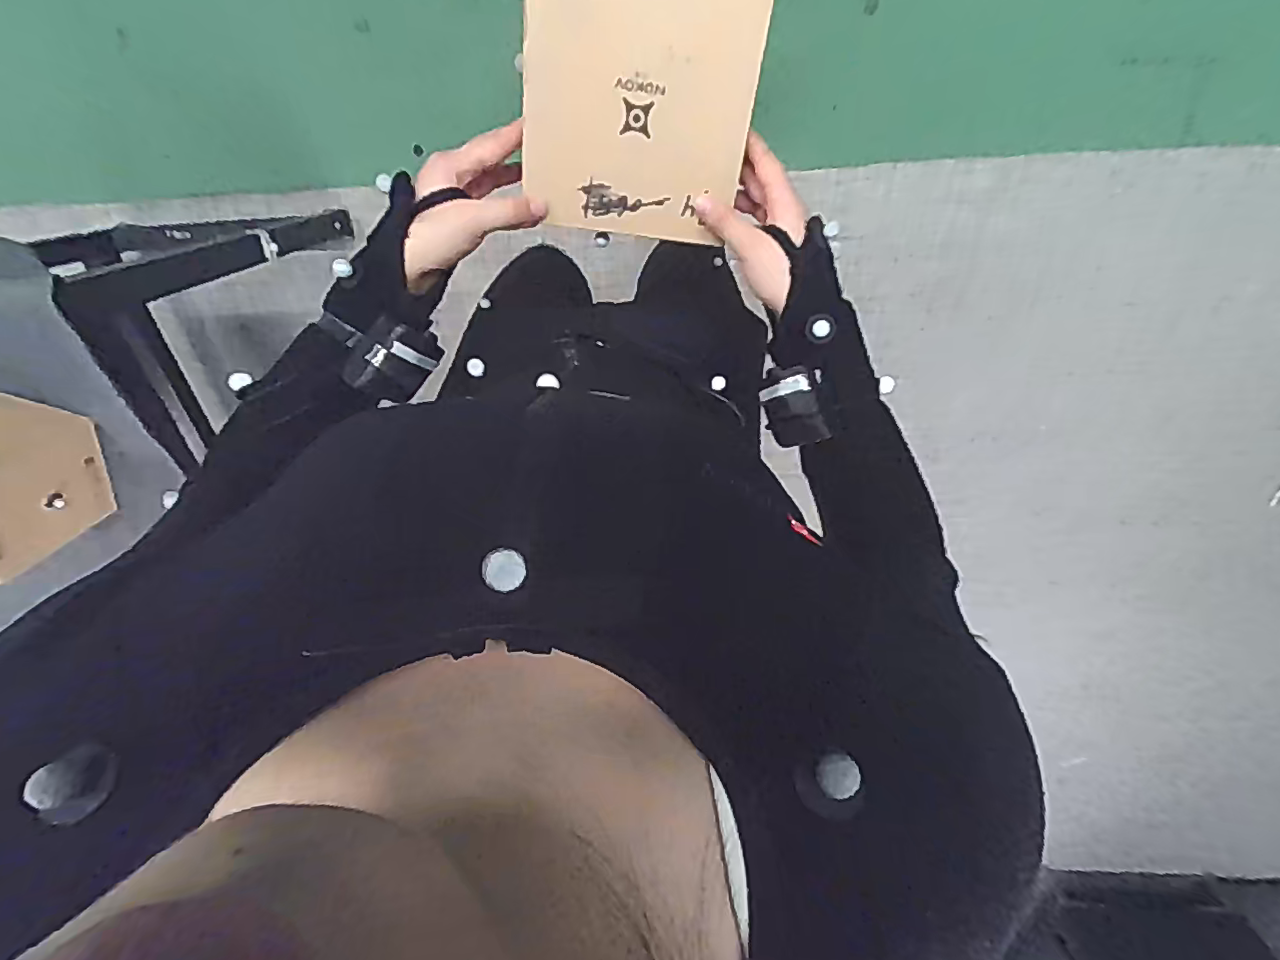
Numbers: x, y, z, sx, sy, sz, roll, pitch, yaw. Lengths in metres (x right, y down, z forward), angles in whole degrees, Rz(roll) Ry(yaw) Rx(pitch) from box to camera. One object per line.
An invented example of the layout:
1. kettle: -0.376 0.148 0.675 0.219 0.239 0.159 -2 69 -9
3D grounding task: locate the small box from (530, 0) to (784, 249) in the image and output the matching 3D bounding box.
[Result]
1. small box: -0.002 -0.308 0.448 0.168 0.176 0.179 3 124 -8

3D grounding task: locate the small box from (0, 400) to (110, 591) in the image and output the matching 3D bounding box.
1. small box: -0.845 0.010 0.697 0.179 0.176 0.168 17 122 -6
